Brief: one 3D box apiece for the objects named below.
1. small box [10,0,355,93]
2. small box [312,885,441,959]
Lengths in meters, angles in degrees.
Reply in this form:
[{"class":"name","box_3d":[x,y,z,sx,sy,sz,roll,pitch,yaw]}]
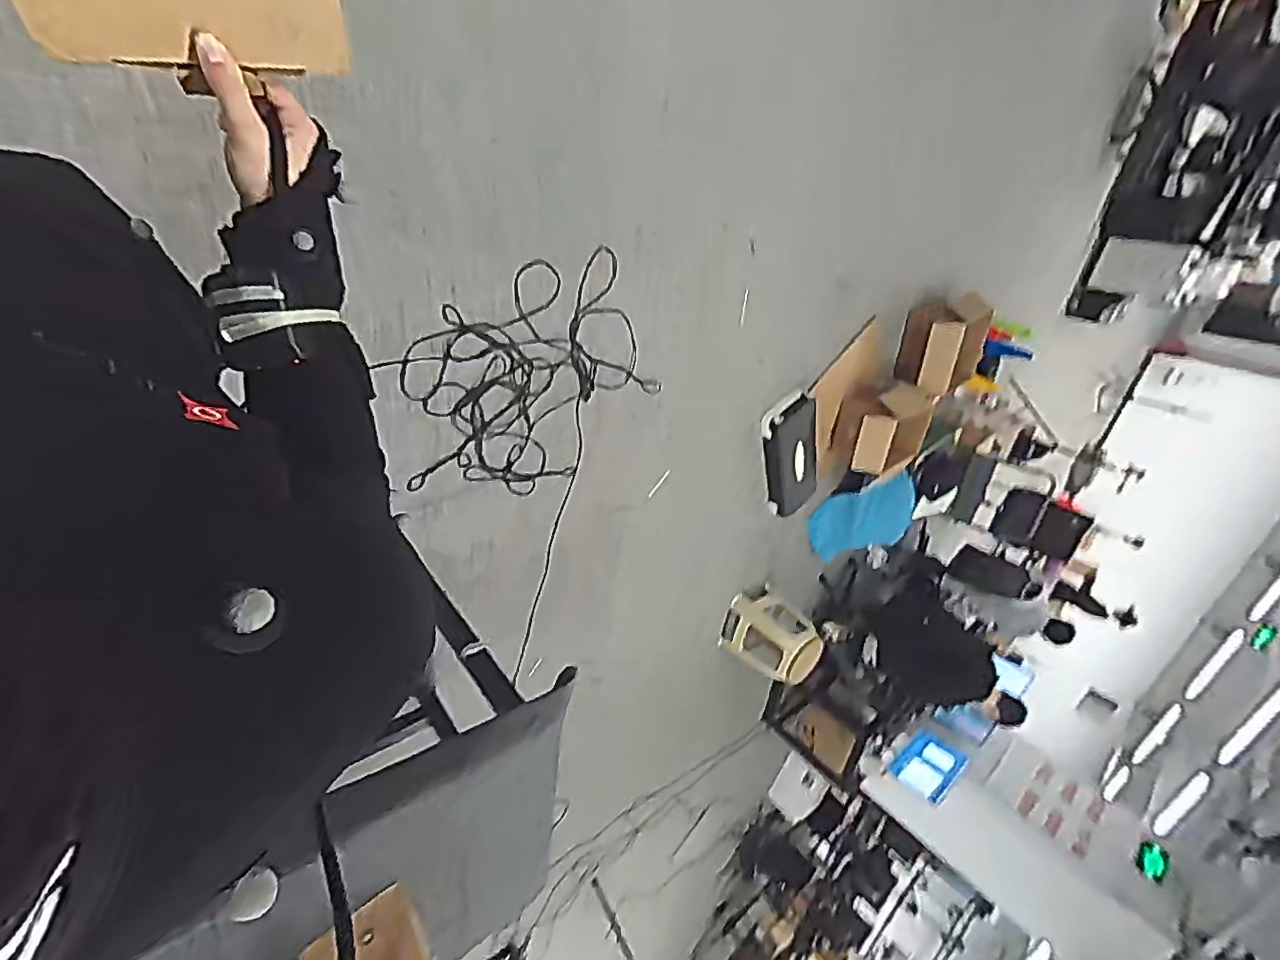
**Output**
[{"class":"small box","box_3d":[-0.288,-0.365,0.322,0.168,0.176,0.179,-16,146,-23]},{"class":"small box","box_3d":[-0.451,0.877,0.958,0.168,0.176,0.179,-25,130,-33]}]
